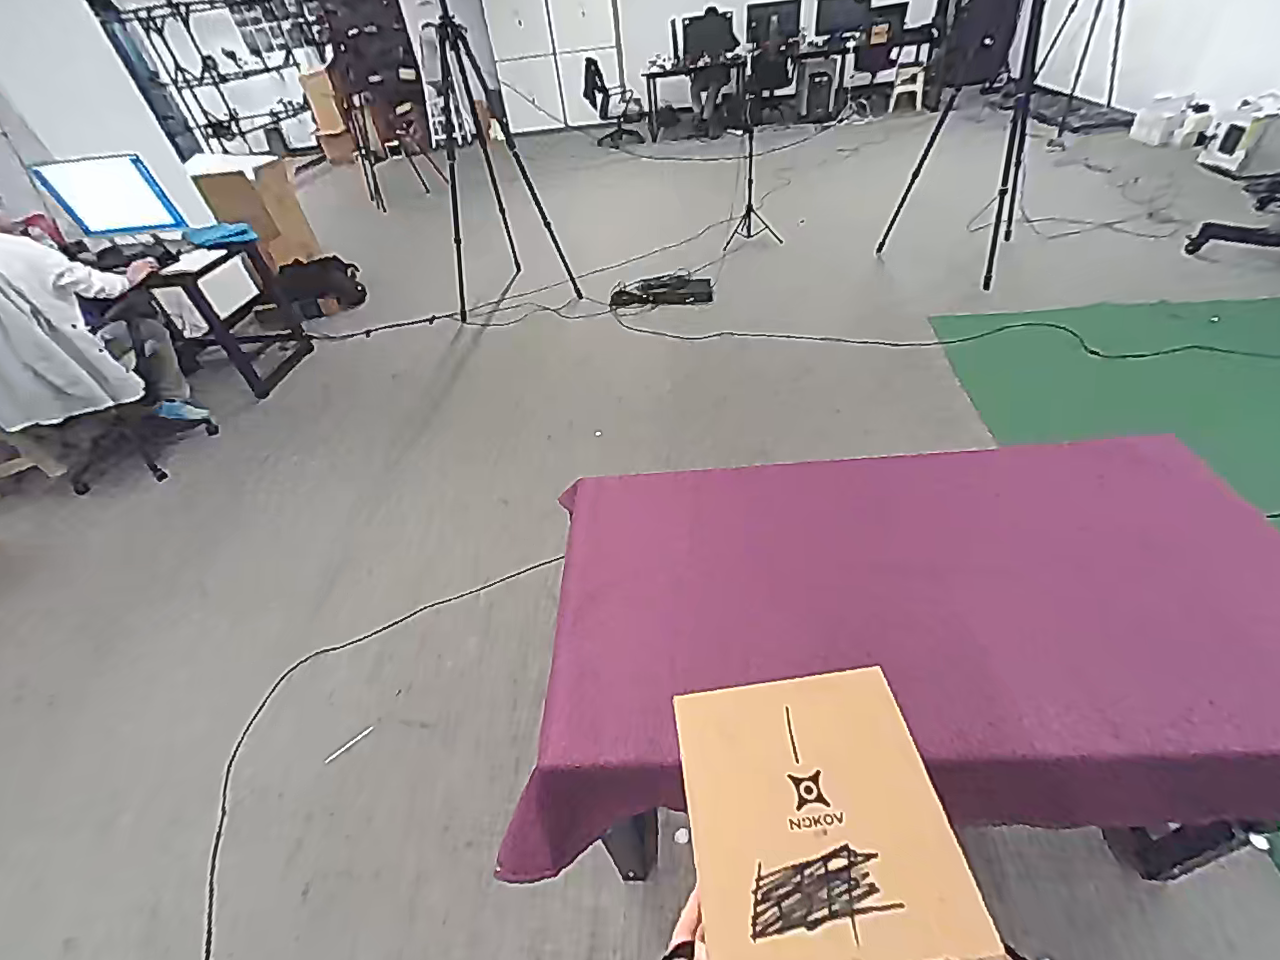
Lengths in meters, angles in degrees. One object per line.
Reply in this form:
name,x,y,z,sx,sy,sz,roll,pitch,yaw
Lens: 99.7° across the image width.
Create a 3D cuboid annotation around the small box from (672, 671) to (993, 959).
small box,0.124,0.277,0.417,0.168,0.176,0.179,-9,42,2
